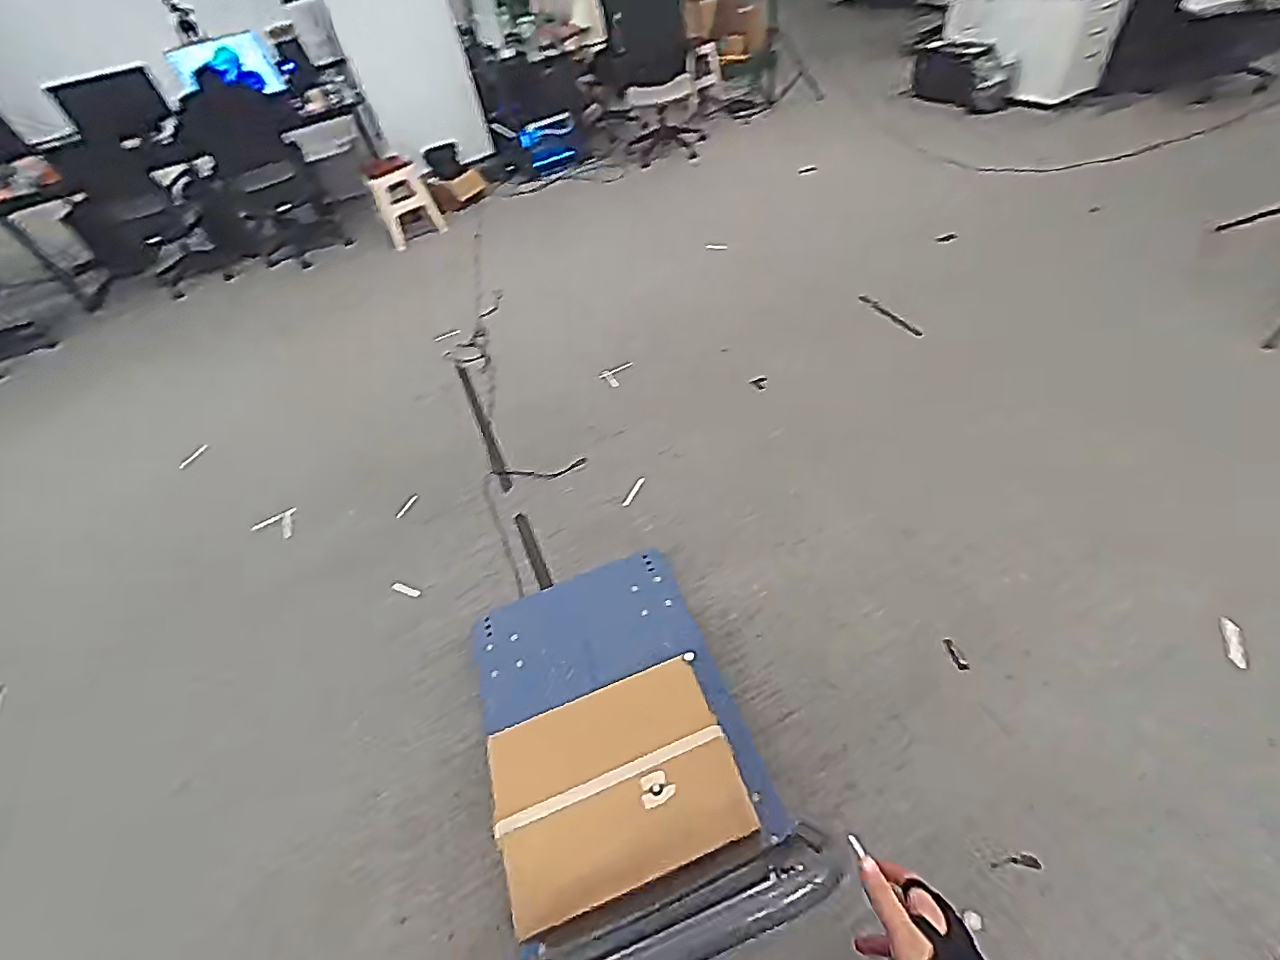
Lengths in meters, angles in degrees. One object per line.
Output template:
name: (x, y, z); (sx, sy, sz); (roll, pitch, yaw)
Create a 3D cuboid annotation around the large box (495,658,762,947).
large box: (-0.015, 0.617, 1.041); (0.408, 0.320, 0.320); (-21, 48, -7)
